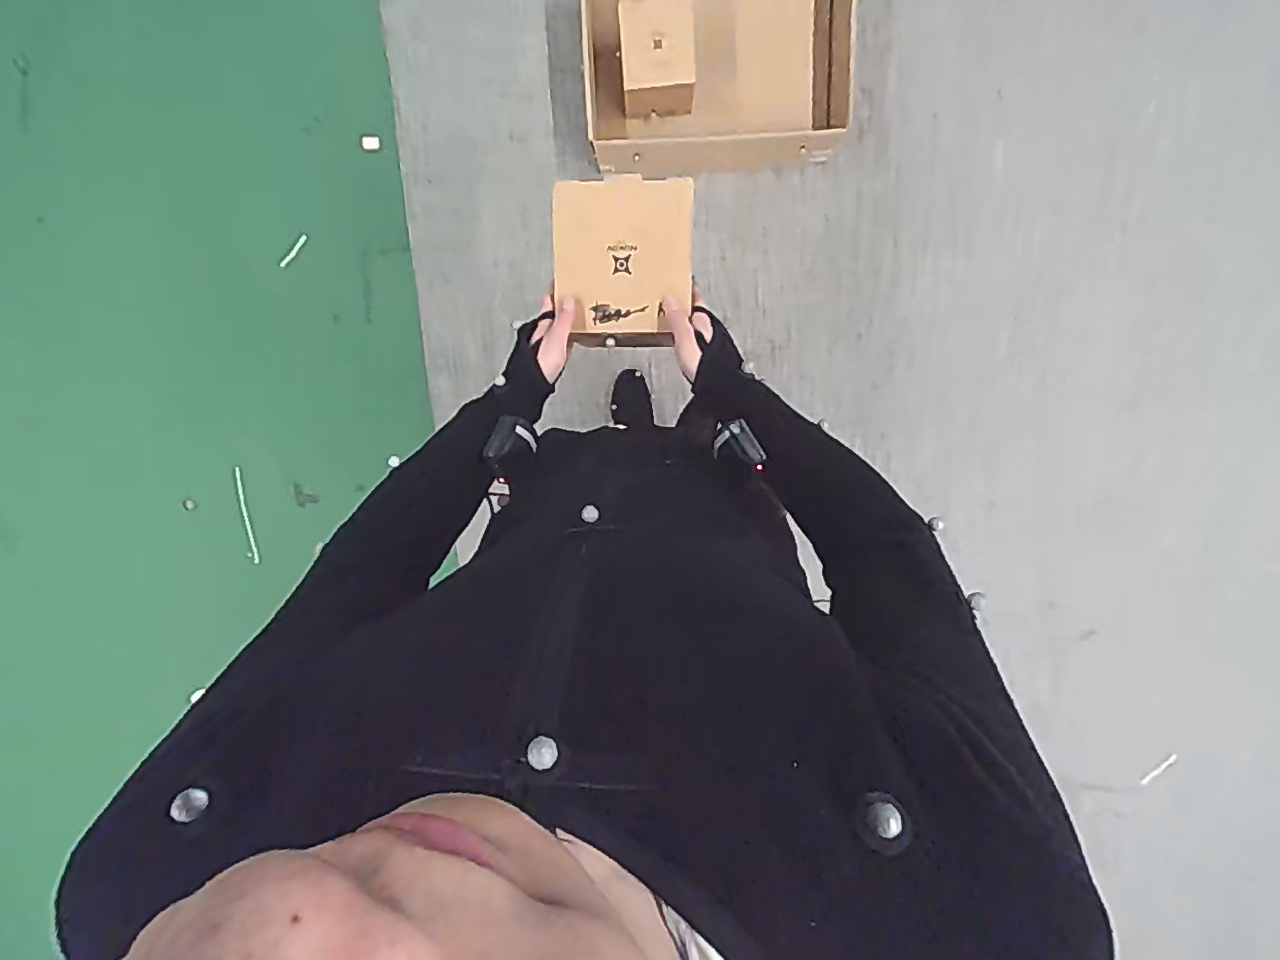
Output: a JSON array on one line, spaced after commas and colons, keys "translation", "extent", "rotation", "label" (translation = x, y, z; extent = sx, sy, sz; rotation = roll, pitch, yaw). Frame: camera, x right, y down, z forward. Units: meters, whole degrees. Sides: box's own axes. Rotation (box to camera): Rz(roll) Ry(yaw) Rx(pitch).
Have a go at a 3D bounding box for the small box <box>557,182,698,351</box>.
[{"translation": [-0.012, -0.269, 0.716], "extent": [0.168, 0.176, 0.179], "rotation": [1, 99, 4], "label": "small box"}]
